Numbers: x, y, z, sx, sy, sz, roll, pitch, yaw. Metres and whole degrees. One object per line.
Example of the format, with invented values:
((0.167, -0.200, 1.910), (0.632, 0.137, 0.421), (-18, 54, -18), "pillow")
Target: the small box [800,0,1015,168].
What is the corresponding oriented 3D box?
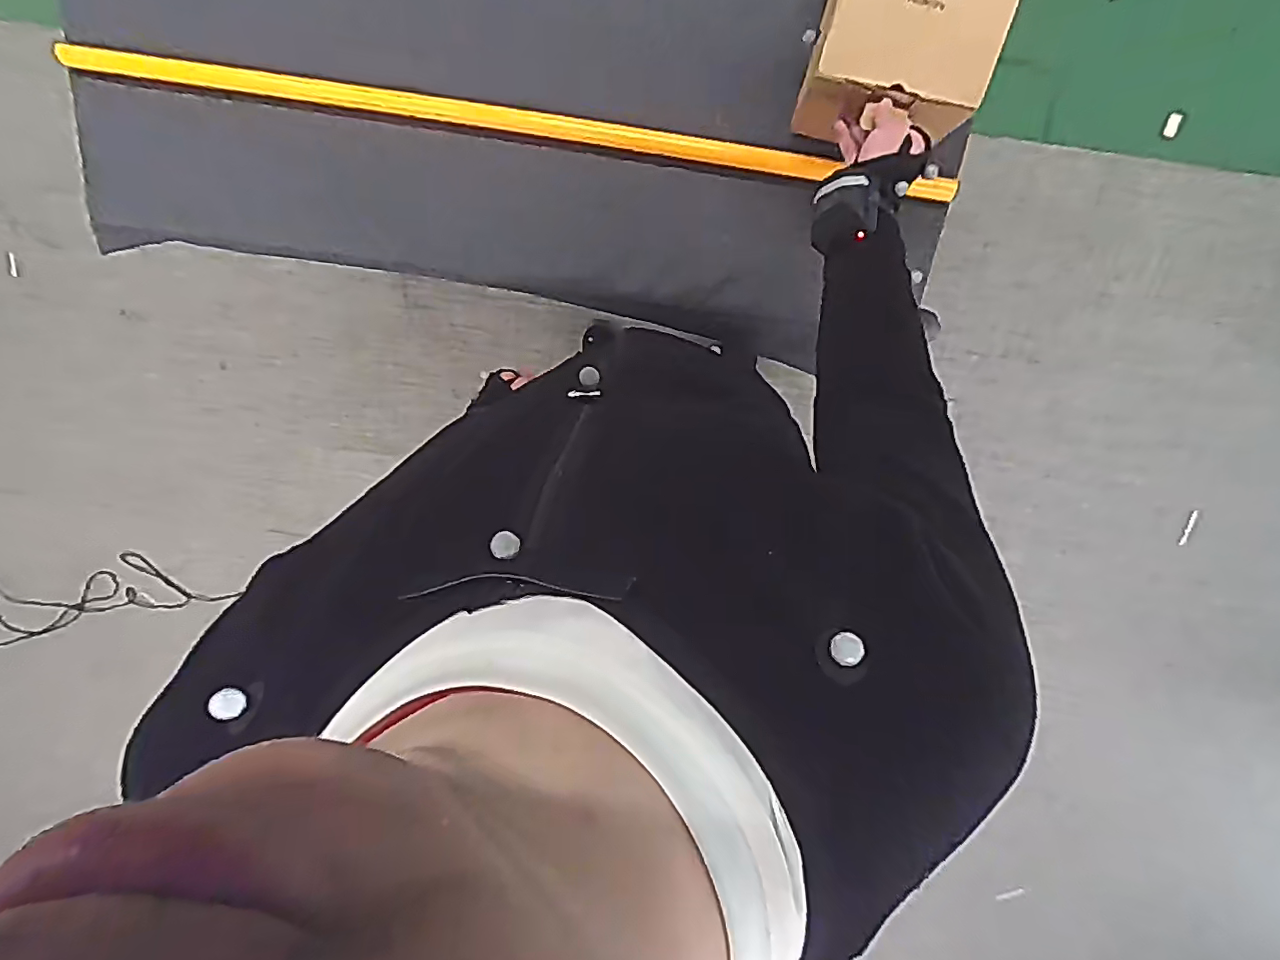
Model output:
((0.288, -0.478, 0.607), (0.168, 0.176, 0.179), (13, 105, 4), "small box")
